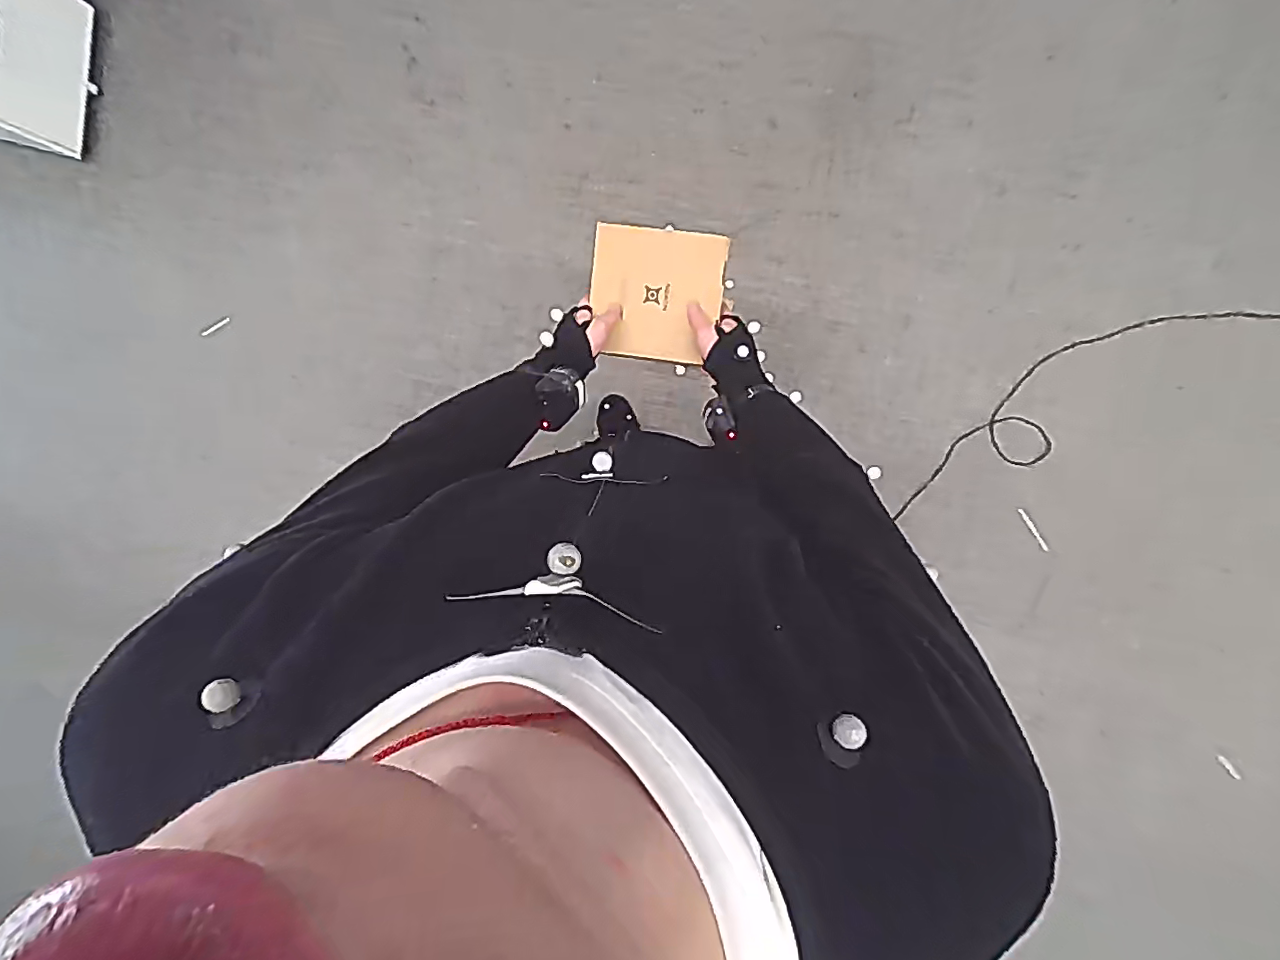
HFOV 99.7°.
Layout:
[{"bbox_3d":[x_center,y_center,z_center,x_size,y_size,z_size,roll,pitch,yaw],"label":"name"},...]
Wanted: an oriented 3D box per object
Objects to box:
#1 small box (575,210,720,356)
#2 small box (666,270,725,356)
[{"bbox_3d":[0.016,-0.276,0.792,0.179,0.176,0.168,9,101,6],"label":"small box"},{"bbox_3d":[0.124,-0.427,1.411,0.179,0.176,0.168,-9,95,8],"label":"small box"}]
